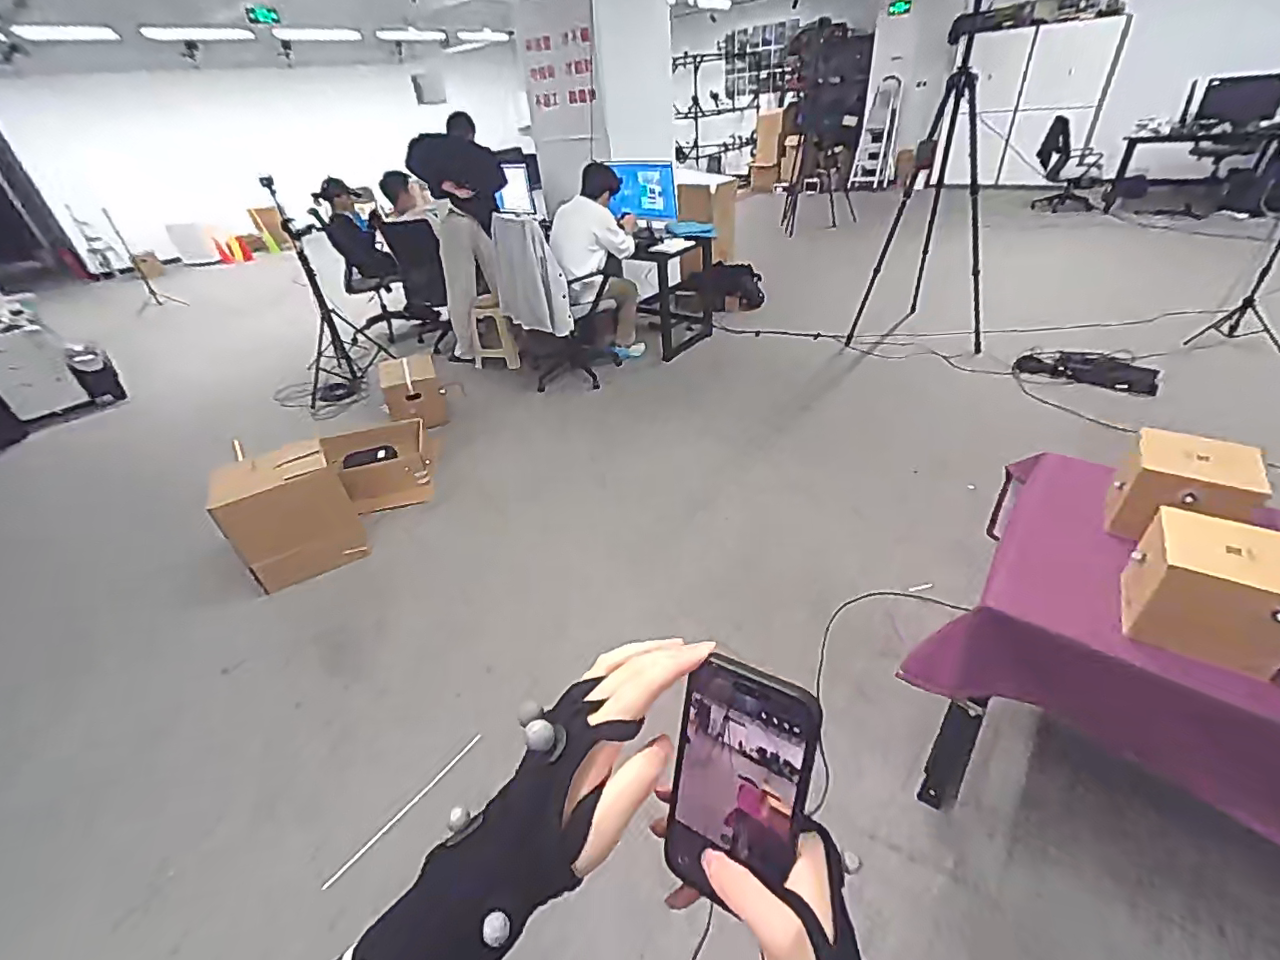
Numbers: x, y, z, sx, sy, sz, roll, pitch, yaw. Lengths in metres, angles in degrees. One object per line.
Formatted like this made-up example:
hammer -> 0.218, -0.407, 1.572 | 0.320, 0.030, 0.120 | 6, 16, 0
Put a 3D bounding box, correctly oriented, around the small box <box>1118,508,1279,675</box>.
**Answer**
small box -> 0.908, 0.178, 0.870 | 0.179, 0.176, 0.168 | 20, 42, 29
